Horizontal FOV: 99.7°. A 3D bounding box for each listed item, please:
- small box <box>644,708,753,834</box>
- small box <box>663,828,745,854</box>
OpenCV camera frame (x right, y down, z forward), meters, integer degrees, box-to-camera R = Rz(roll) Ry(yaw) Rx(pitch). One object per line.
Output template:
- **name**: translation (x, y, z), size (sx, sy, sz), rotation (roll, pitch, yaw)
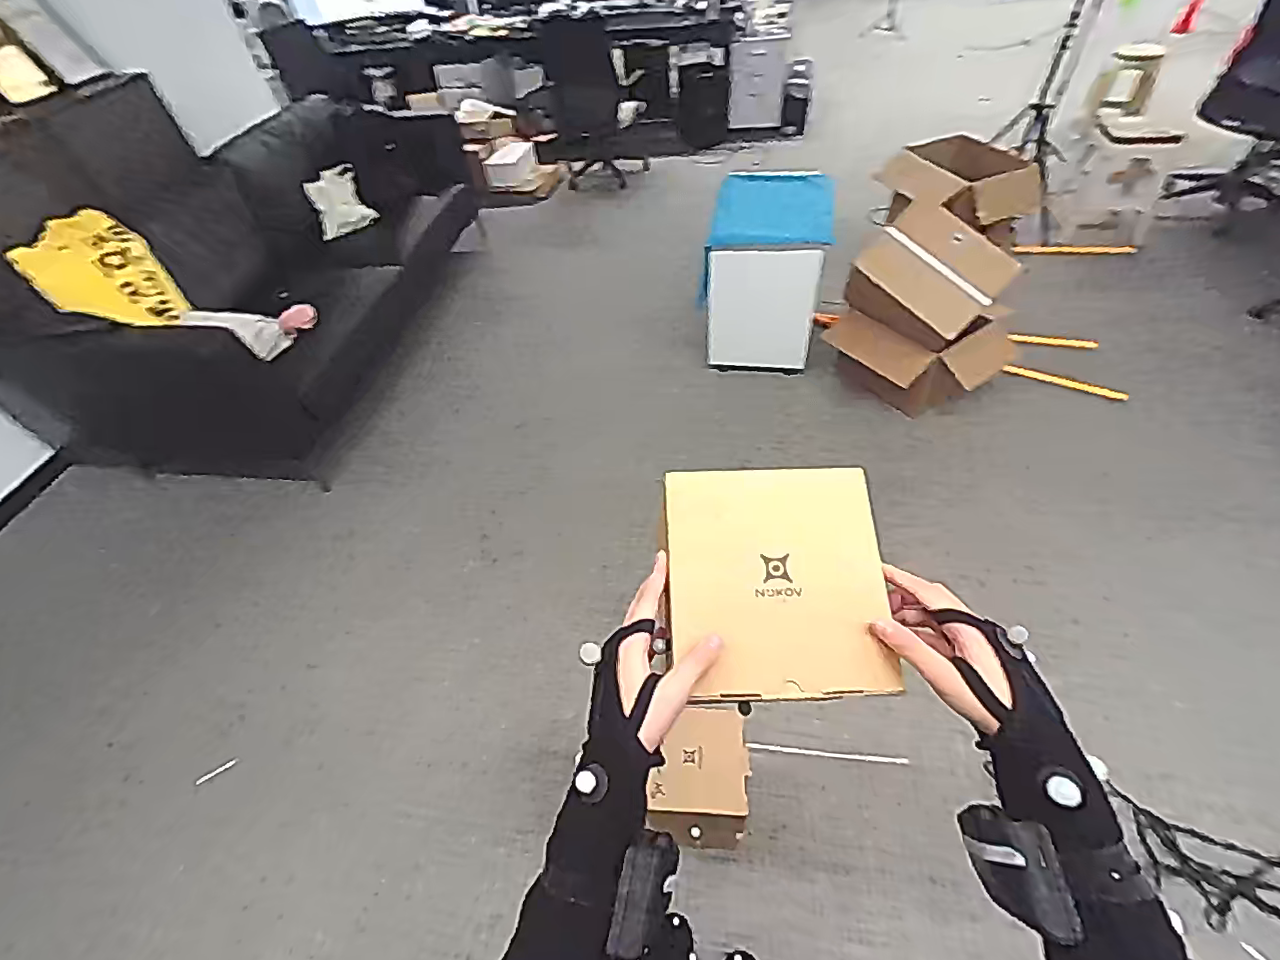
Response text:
- **small box**: translation (0.108, 0.530, 0.981), size (0.179, 0.176, 0.168), rotation (0, 49, 8)
- **small box**: translation (0.150, 0.736, 1.233), size (0.179, 0.176, 0.168), rotation (1, 49, 9)
